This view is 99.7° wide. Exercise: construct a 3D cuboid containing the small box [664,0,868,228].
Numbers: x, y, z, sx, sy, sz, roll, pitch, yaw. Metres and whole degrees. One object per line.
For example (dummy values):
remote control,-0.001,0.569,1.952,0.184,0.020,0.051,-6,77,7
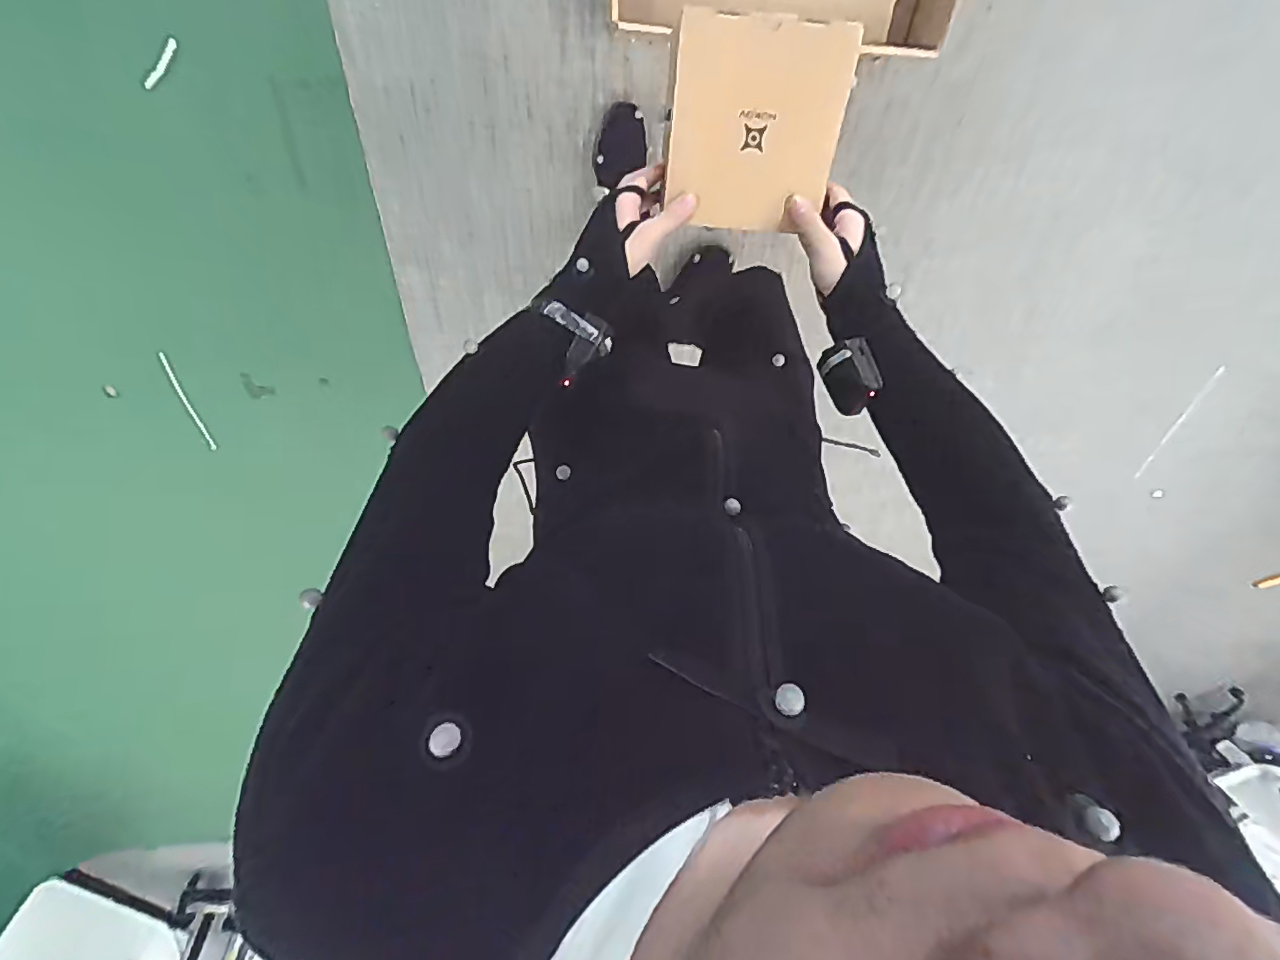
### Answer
small box,0.116,-0.386,0.583,0.168,0.176,0.179,4,123,-1
